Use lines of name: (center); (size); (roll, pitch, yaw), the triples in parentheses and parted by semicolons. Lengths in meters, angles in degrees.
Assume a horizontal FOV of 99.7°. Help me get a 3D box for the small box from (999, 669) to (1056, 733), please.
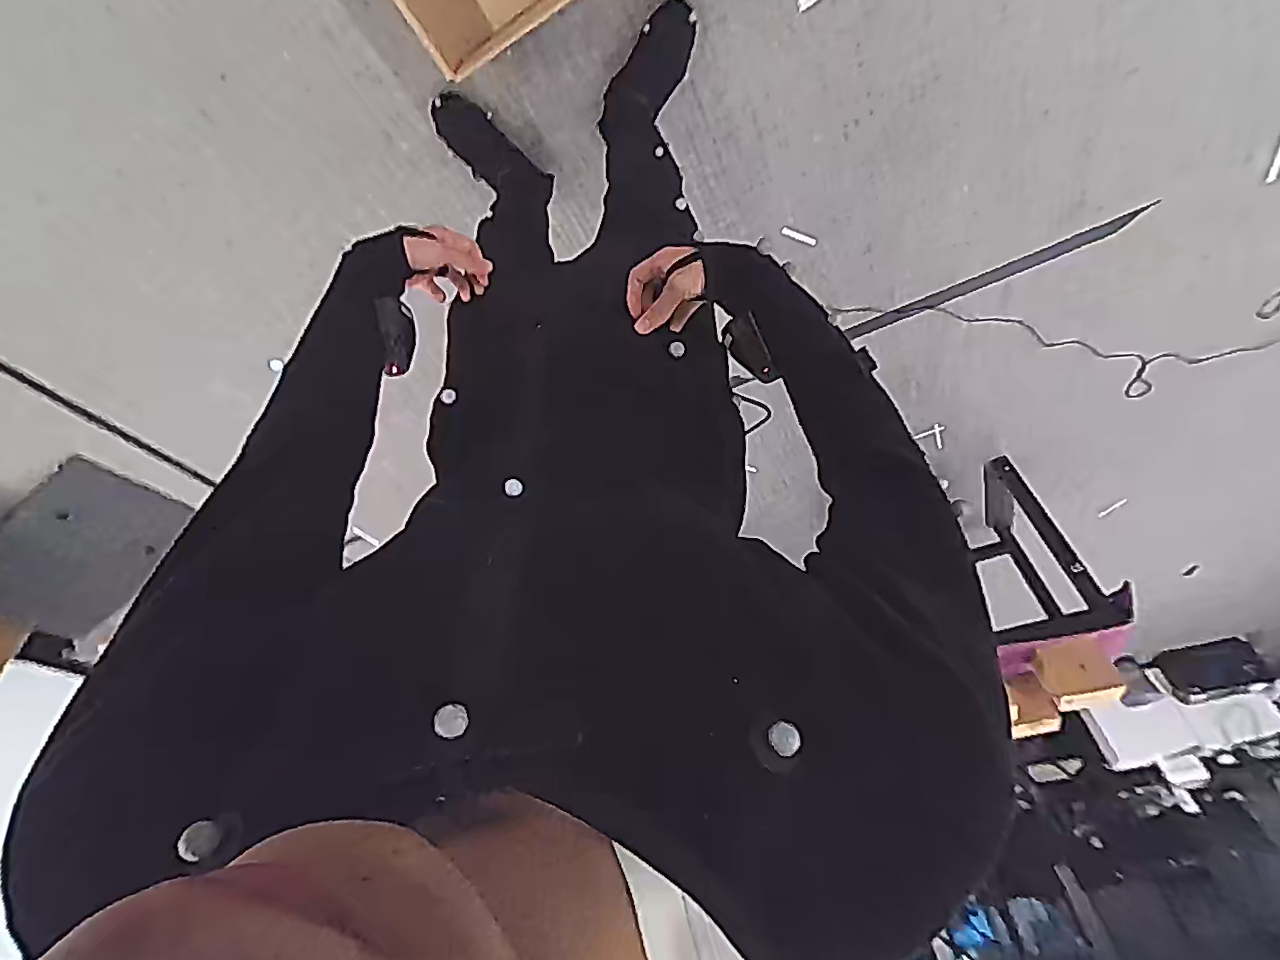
small box: (1.418, 0.825, 2.025); (0.168, 0.176, 0.179); (-21, 137, 18)

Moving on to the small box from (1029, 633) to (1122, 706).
small box: (1.435, 0.627, 1.793); (0.179, 0.176, 0.168); (-21, 136, 17)

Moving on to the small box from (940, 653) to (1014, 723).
small box: (1.172, 0.726, 1.886); (0.168, 0.176, 0.179); (-22, 135, 18)
